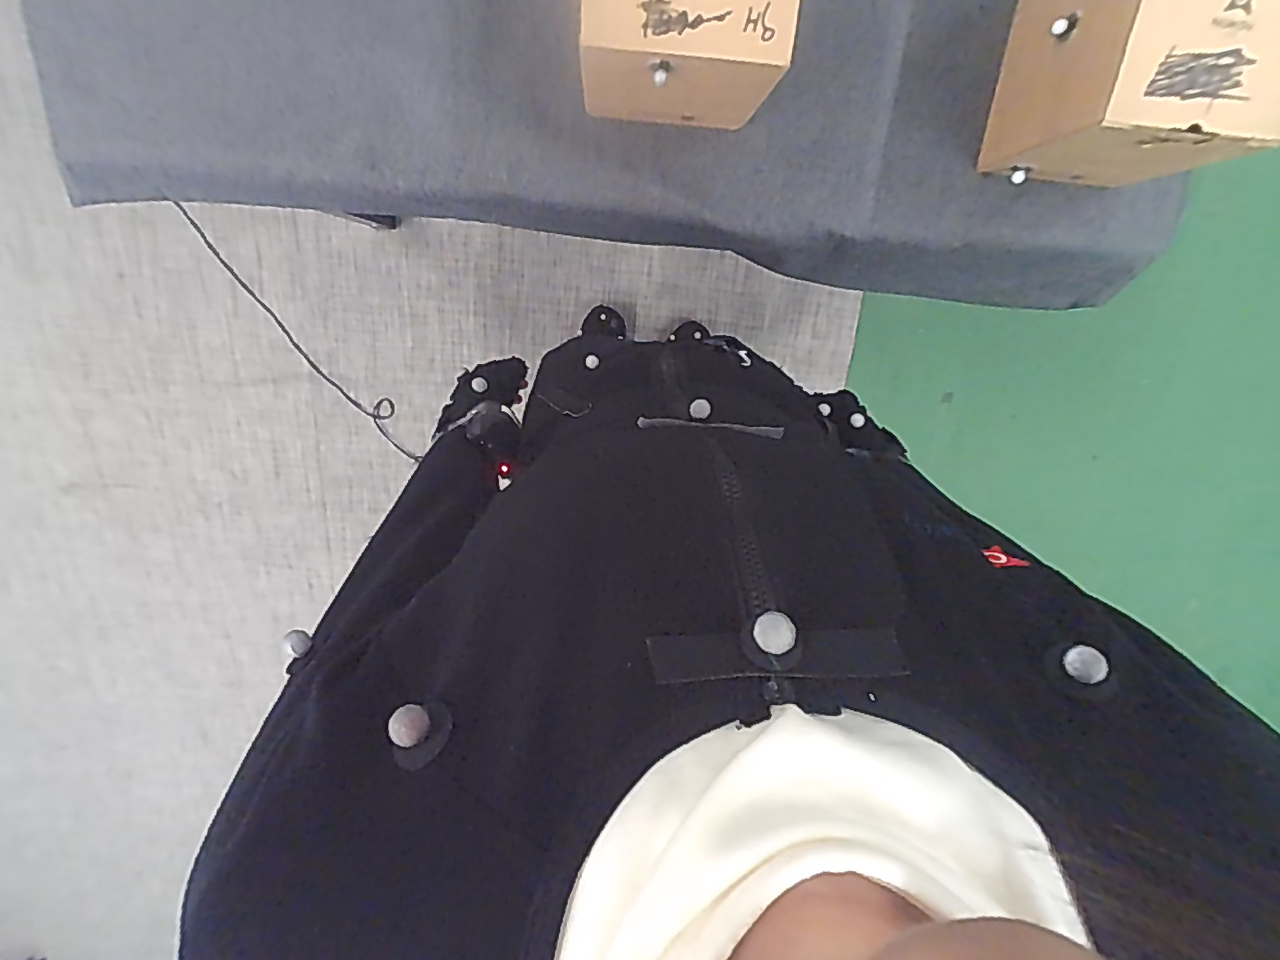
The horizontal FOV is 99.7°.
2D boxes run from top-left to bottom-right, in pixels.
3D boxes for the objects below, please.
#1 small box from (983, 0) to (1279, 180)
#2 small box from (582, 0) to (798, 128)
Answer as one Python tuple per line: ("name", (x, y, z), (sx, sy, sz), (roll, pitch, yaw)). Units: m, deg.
("small box", (0.462, -0.396, 0.502), (0.168, 0.176, 0.179), (4, 107, -4))
("small box", (0.038, -0.437, 0.466), (0.168, 0.176, 0.179), (3, 108, -4))
